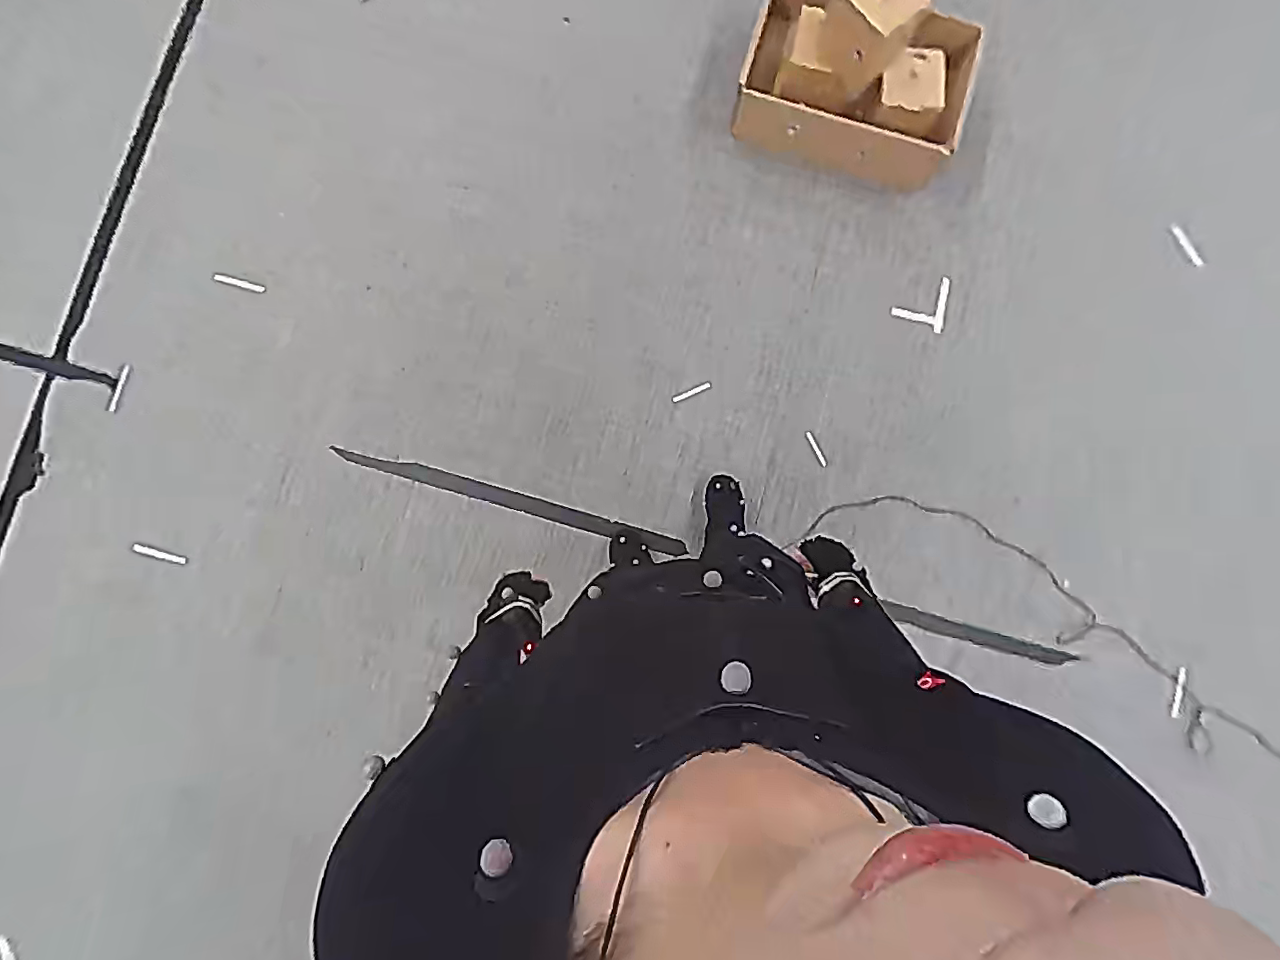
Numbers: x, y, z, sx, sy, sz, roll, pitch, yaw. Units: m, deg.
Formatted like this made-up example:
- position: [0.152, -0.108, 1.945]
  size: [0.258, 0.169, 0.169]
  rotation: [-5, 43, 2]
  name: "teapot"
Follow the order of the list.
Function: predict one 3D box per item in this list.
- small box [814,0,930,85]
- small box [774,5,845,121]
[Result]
- position: [0.578, -1.152, 1.369]
  size: [0.168, 0.176, 0.179]
  rotation: [-41, 86, -7]
  name: "small box"
- position: [0.494, -1.173, 1.532]
  size: [0.168, 0.176, 0.179]
  rotation: [14, 85, -1]
  name: "small box"
